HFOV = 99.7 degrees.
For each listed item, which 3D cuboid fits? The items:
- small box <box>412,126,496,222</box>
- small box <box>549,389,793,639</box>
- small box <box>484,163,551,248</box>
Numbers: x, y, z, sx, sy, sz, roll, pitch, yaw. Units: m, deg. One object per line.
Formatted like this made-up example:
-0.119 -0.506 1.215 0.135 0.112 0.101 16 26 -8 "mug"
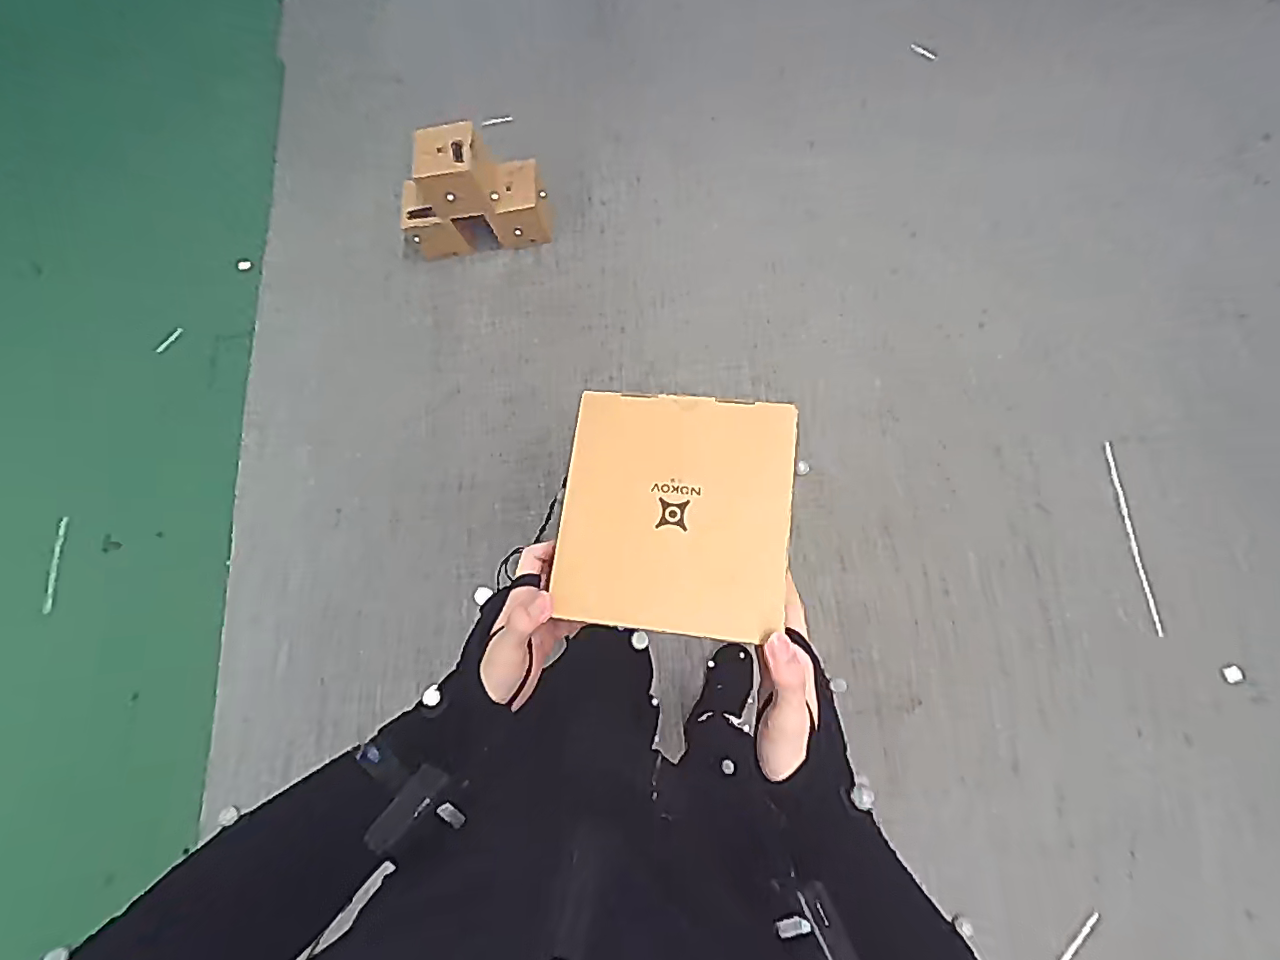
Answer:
-0.534 -0.884 1.574 0.179 0.176 0.168 -4 76 8 "small box"
0.035 0.040 0.468 0.168 0.176 0.179 4 73 8 "small box"
-0.385 -0.861 1.716 0.168 0.176 0.179 -5 76 8 "small box"
